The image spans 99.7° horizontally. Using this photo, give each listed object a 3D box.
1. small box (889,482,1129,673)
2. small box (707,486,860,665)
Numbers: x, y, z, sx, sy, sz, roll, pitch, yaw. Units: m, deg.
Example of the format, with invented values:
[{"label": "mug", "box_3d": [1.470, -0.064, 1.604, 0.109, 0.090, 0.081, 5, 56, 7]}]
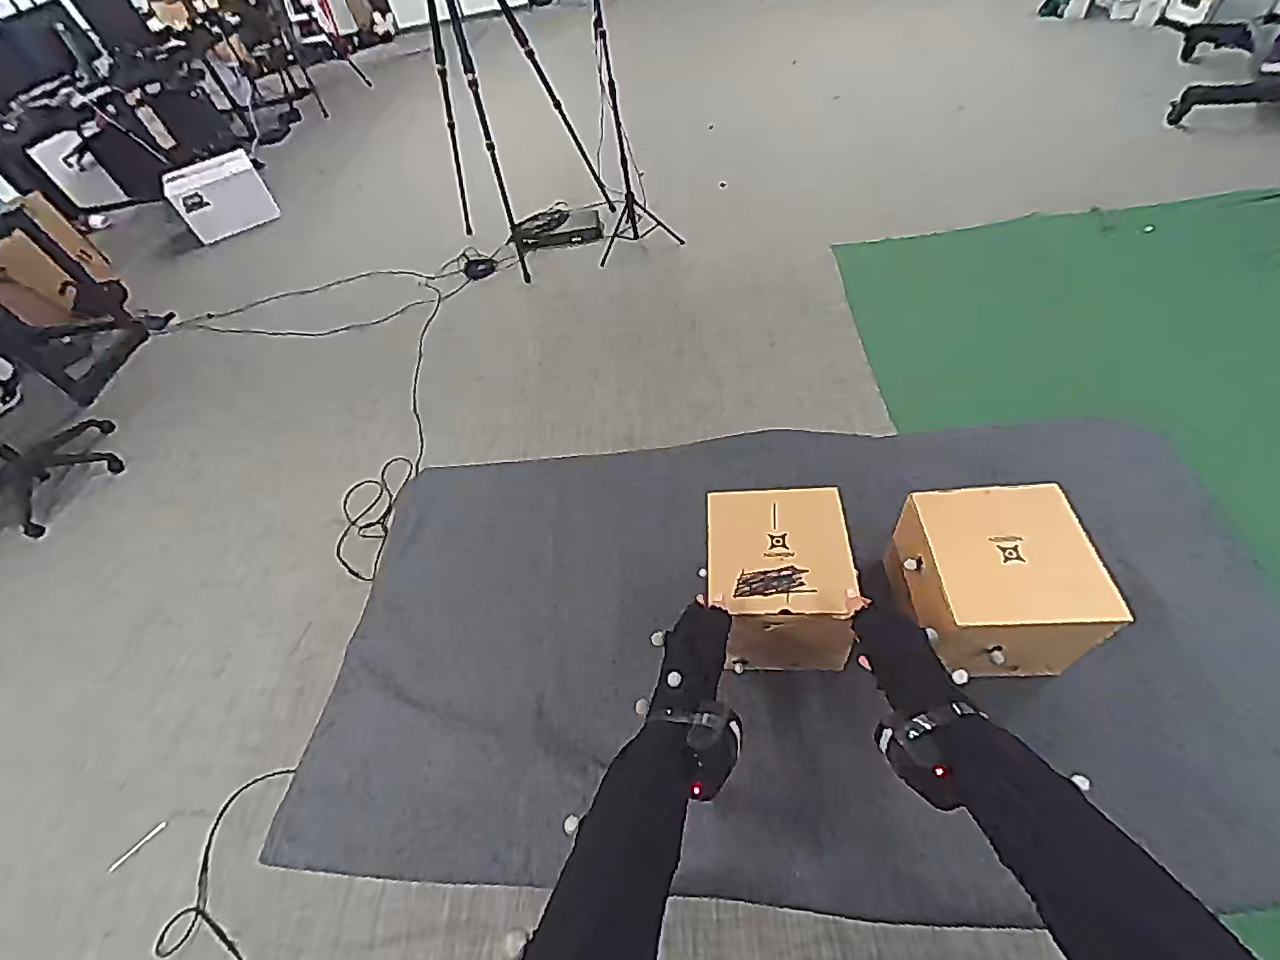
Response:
[{"label": "small box", "box_3d": [0.419, 0.125, 0.654, 0.168, 0.176, 0.179, -4, 51, 8]}, {"label": "small box", "box_3d": [0.175, 0.128, 0.699, 0.168, 0.176, 0.179, -2, 51, 9]}]
